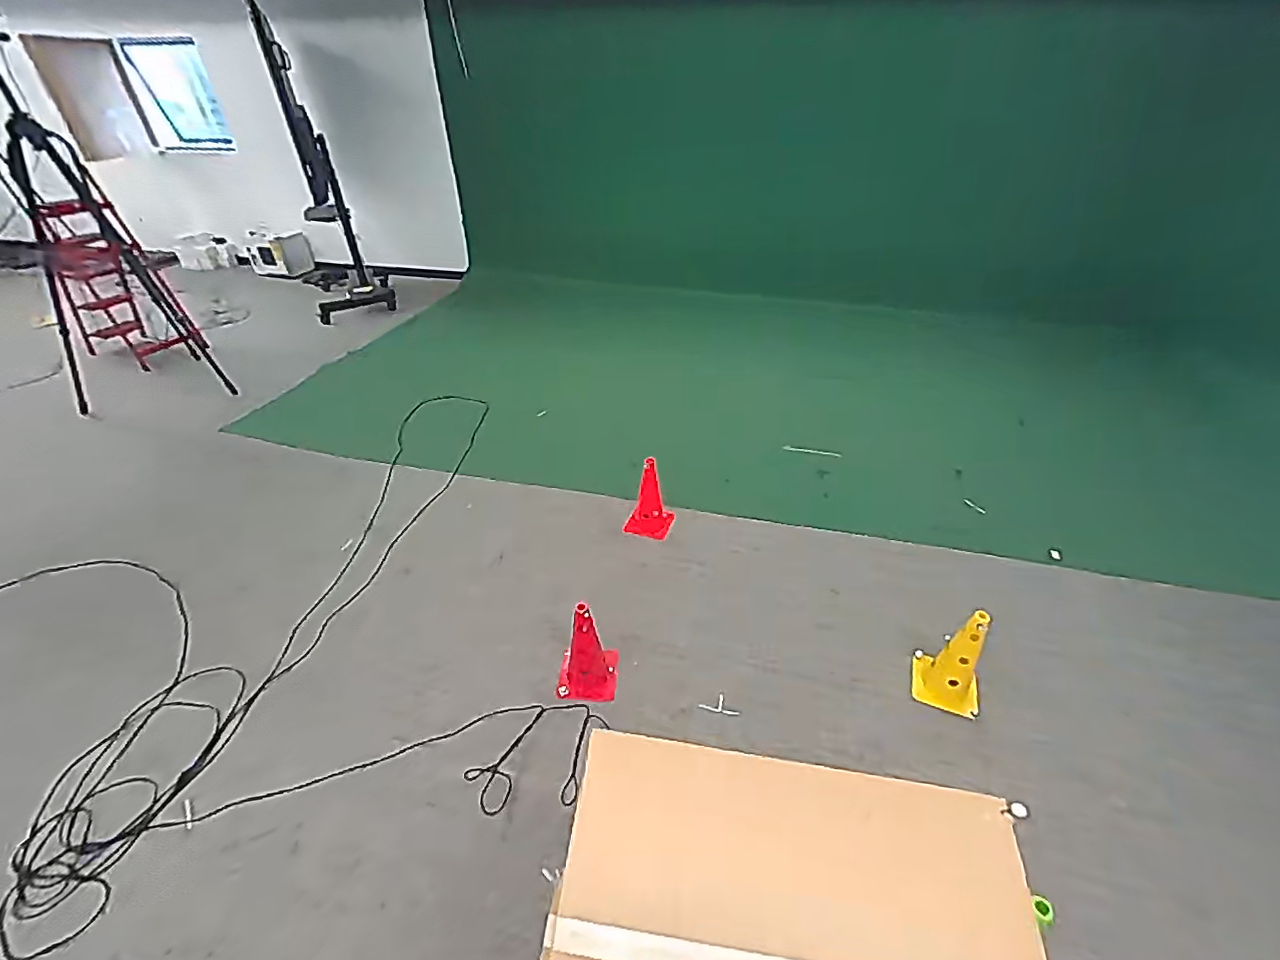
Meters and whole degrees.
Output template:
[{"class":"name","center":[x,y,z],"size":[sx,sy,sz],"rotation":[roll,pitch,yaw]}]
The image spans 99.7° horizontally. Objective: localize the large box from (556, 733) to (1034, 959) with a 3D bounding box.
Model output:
[{"class":"large box","center":[0.120,0.489,0.560],"size":[0.408,0.320,0.320],"rotation":[8,52,2]}]

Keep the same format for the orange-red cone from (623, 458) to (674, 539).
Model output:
[{"class":"orange-red cone","center":[0.036,0.059,2.415],"size":[0.199,0.360,0.198],"rotation":[12,37,18]}]
